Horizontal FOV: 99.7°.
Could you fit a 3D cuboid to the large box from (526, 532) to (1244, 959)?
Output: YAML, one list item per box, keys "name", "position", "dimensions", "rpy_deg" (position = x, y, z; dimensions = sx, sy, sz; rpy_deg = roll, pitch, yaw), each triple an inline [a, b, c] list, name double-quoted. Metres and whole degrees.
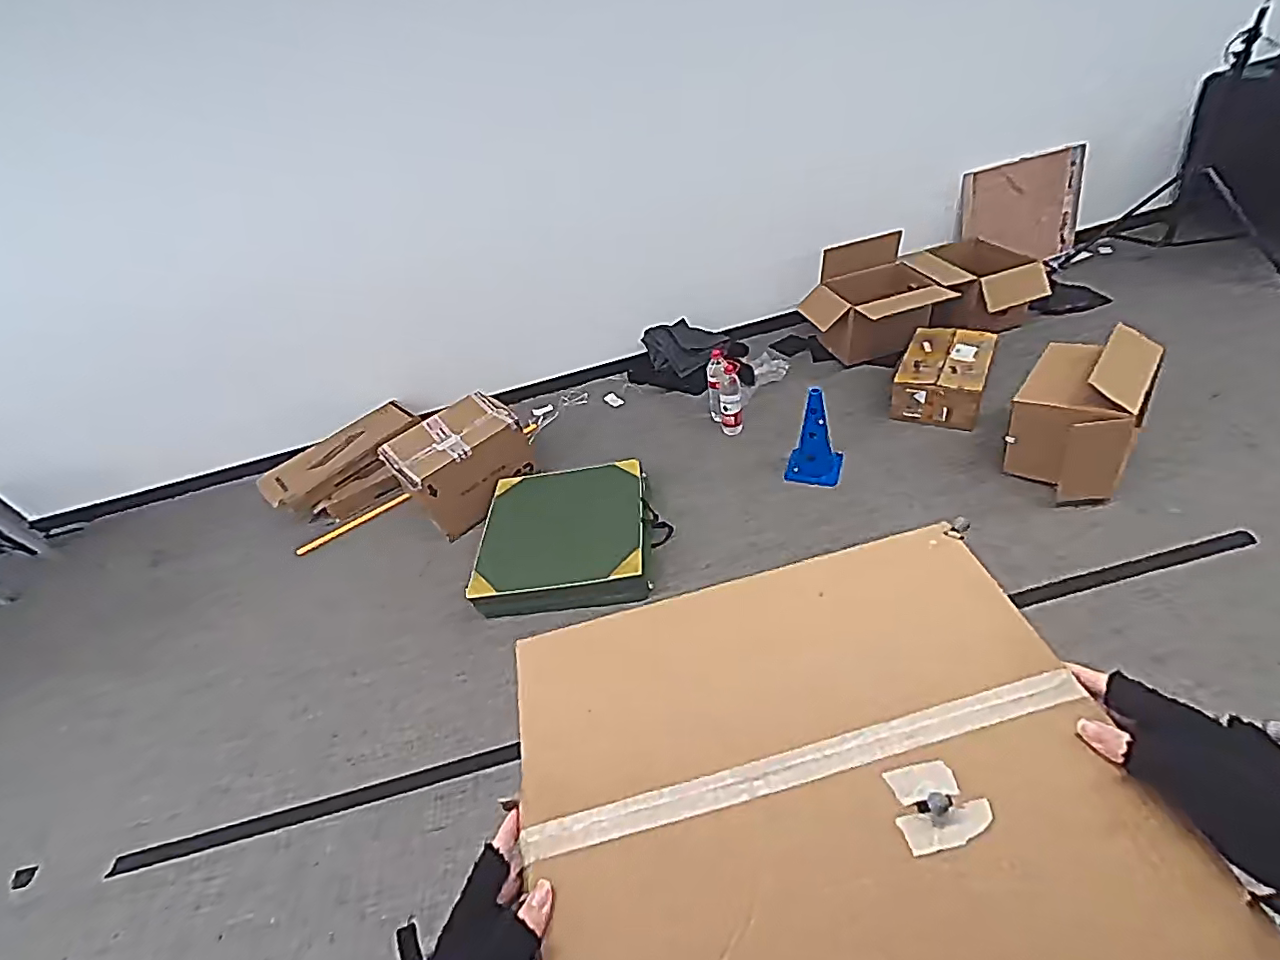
- name: "large box"
  position: [0.141, 0.306, 0.503]
  dimensions: [0.408, 0.320, 0.320]
  rpy_deg: [-15, 47, -3]
